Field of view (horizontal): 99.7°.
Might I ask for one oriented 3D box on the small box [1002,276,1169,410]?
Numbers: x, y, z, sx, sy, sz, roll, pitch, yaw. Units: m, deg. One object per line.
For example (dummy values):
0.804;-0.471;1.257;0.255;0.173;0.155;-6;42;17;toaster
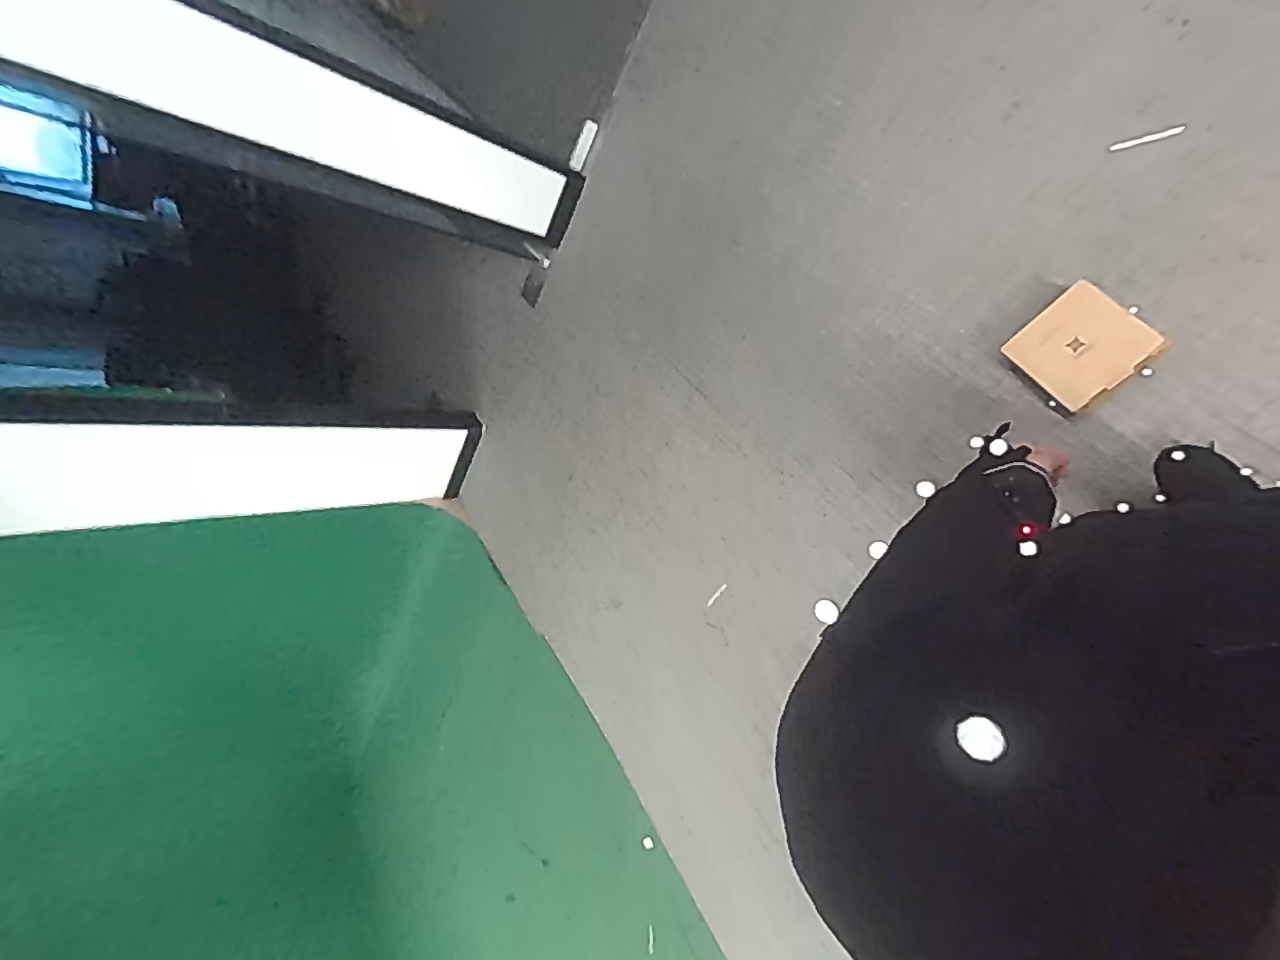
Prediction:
0.832;-0.248;1.014;0.168;0.176;0.179;-50;59;32;small box
